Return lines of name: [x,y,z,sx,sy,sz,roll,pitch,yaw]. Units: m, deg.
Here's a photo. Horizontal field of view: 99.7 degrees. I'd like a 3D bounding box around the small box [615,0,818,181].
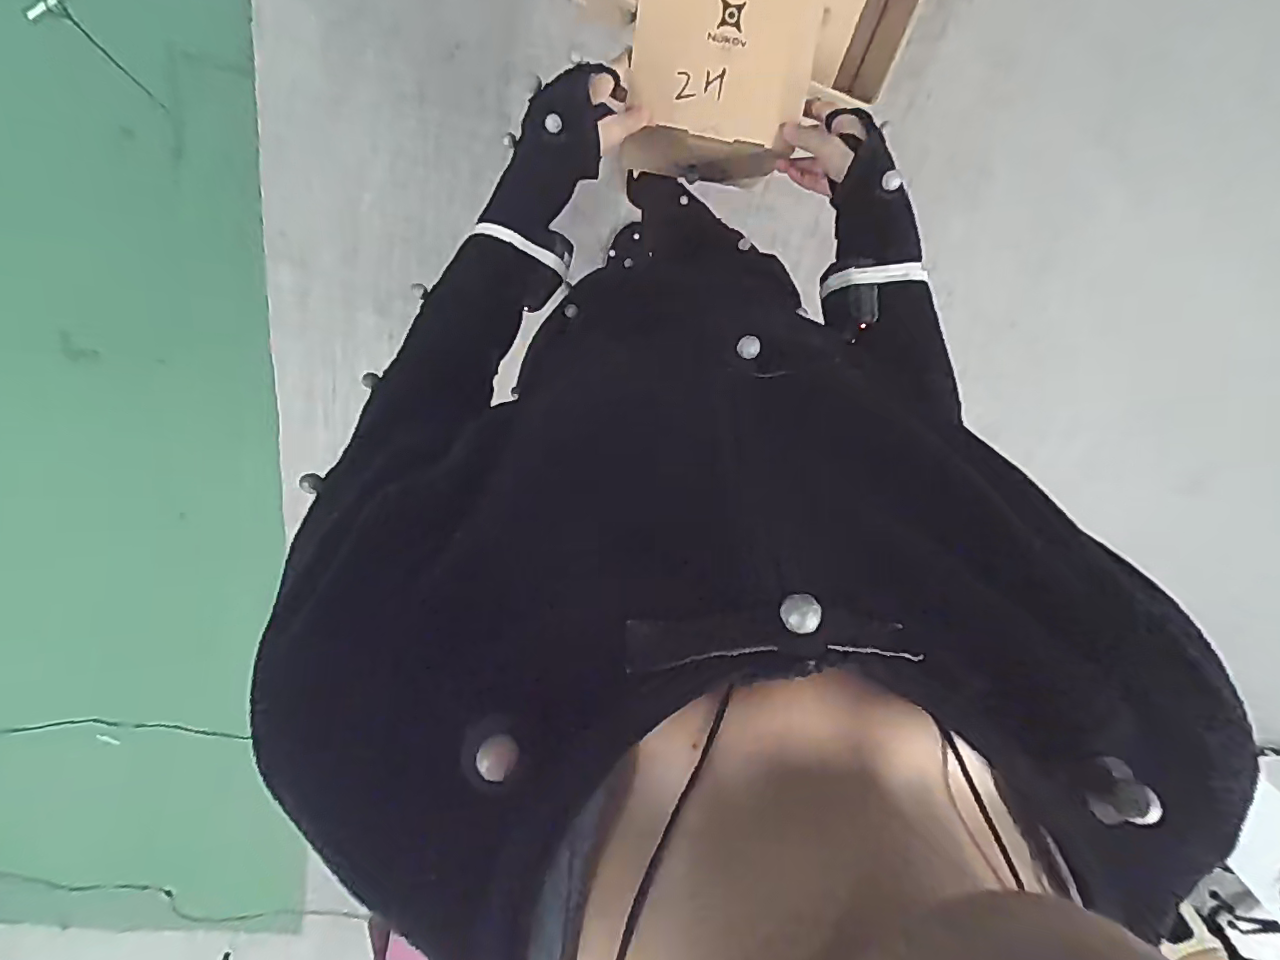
small box: [0.067,-0.431,0.550,0.168,0.176,0.179,9,108,-5]
